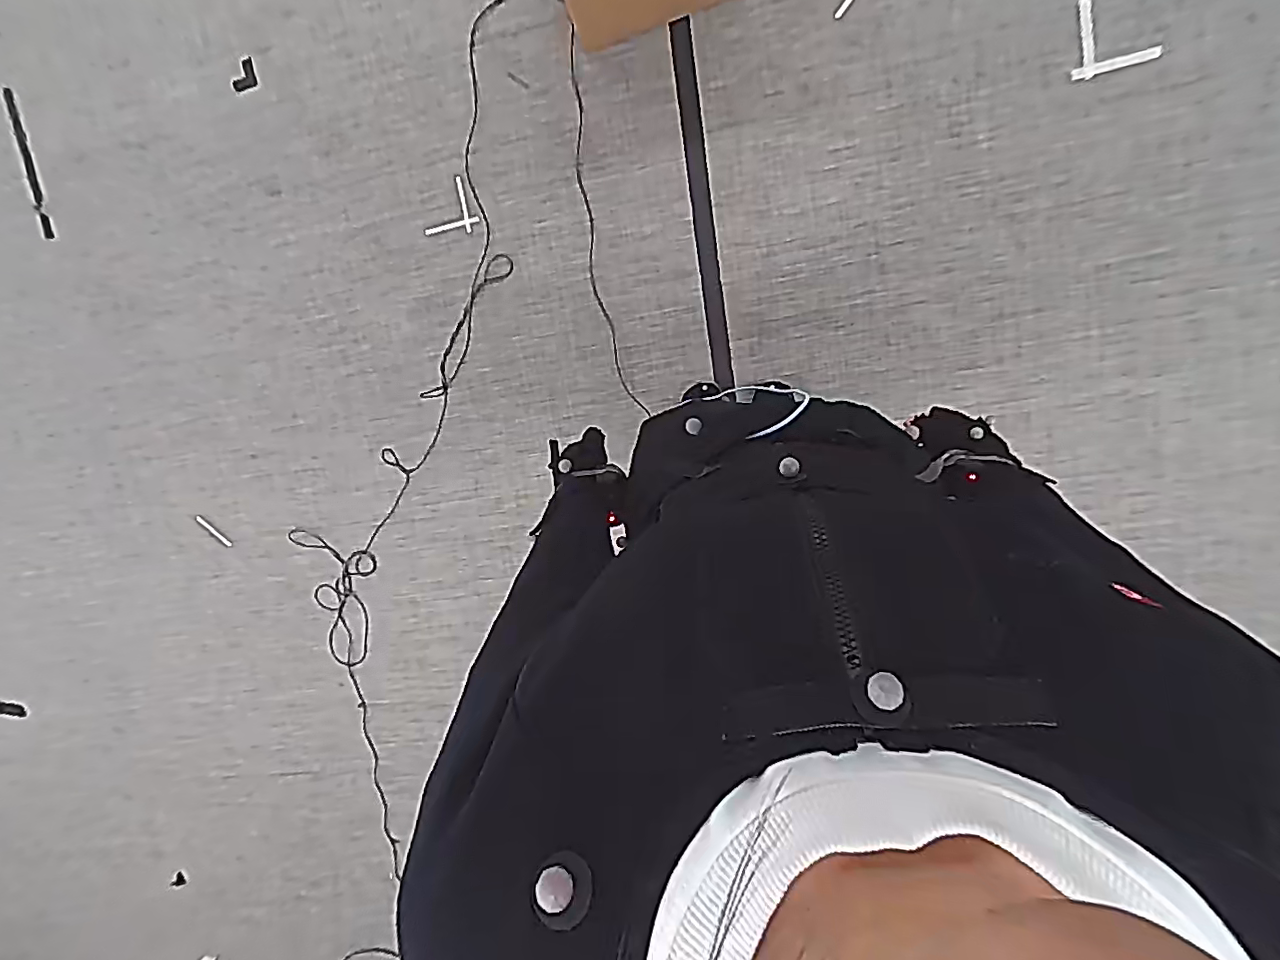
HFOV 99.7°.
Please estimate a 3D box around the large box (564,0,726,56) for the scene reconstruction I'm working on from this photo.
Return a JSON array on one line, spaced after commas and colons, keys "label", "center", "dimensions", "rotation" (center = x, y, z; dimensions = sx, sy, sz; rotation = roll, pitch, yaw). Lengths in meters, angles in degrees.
[{"label": "large box", "center": [-0.006, -1.184, 1.108], "dimensions": [0.408, 0.320, 0.320], "rotation": [-14, 99, 9]}]
